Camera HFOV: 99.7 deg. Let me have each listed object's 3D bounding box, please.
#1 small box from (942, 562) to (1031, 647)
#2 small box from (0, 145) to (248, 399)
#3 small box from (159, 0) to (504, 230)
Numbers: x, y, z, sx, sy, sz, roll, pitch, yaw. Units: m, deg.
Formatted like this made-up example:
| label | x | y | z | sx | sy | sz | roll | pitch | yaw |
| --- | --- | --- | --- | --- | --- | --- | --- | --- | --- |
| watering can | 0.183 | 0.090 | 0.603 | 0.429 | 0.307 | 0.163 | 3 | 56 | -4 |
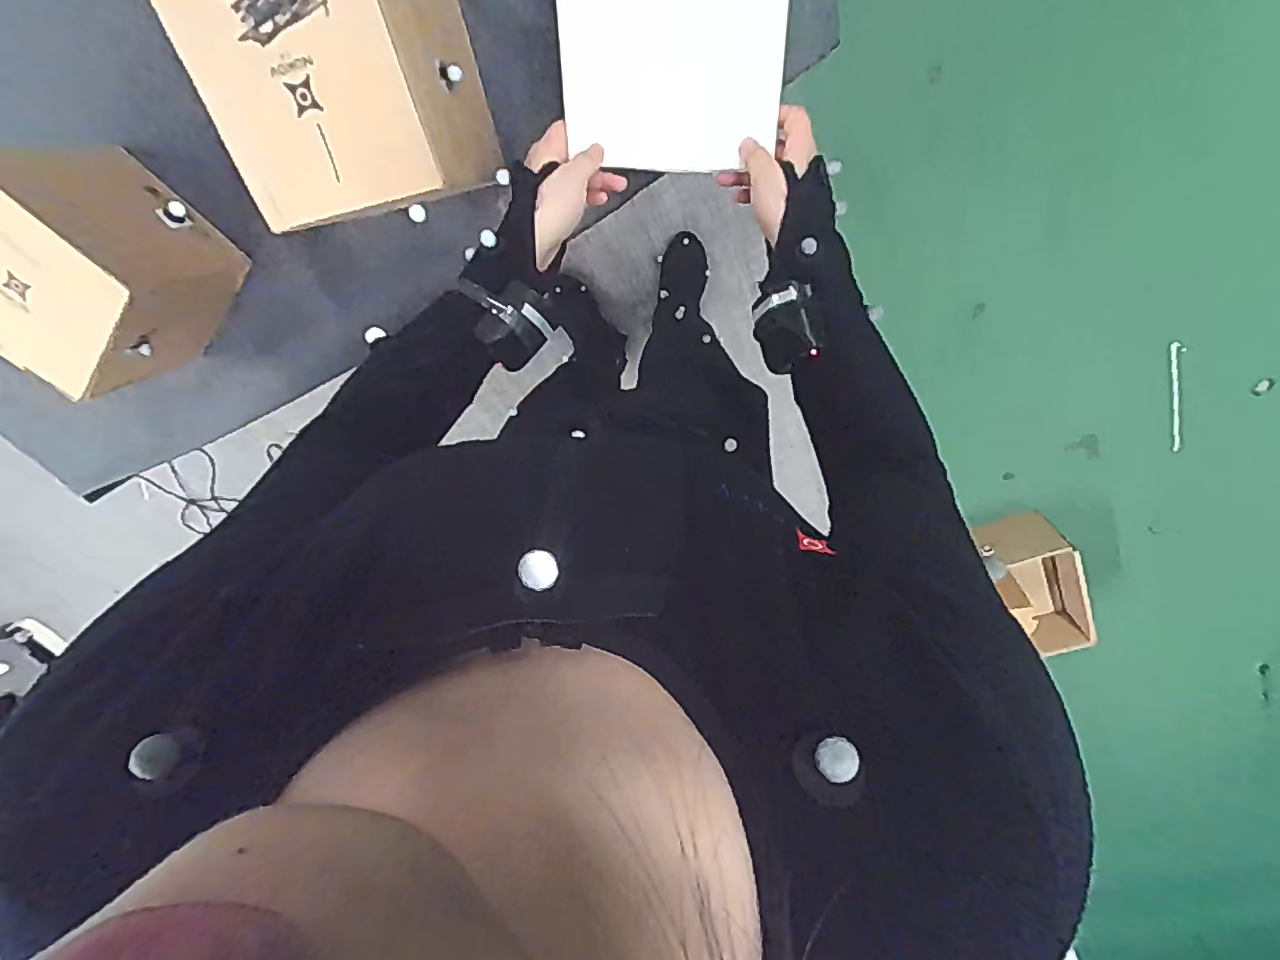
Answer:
| label | x | y | z | sx | sy | sz | roll | pitch | yaw |
| --- | --- | --- | --- | --- | --- | --- | --- | --- | --- |
| small box | 1.008 | 0.362 | 1.588 | 0.179 | 0.176 | 0.168 | -11 | 121 | 14 |
| small box | -0.579 | -0.225 | 0.585 | 0.179 | 0.176 | 0.168 | -38 | 111 | 24 |
| small box | -0.242 | -0.337 | 0.472 | 0.168 | 0.176 | 0.179 | -7 | 121 | 12 |
